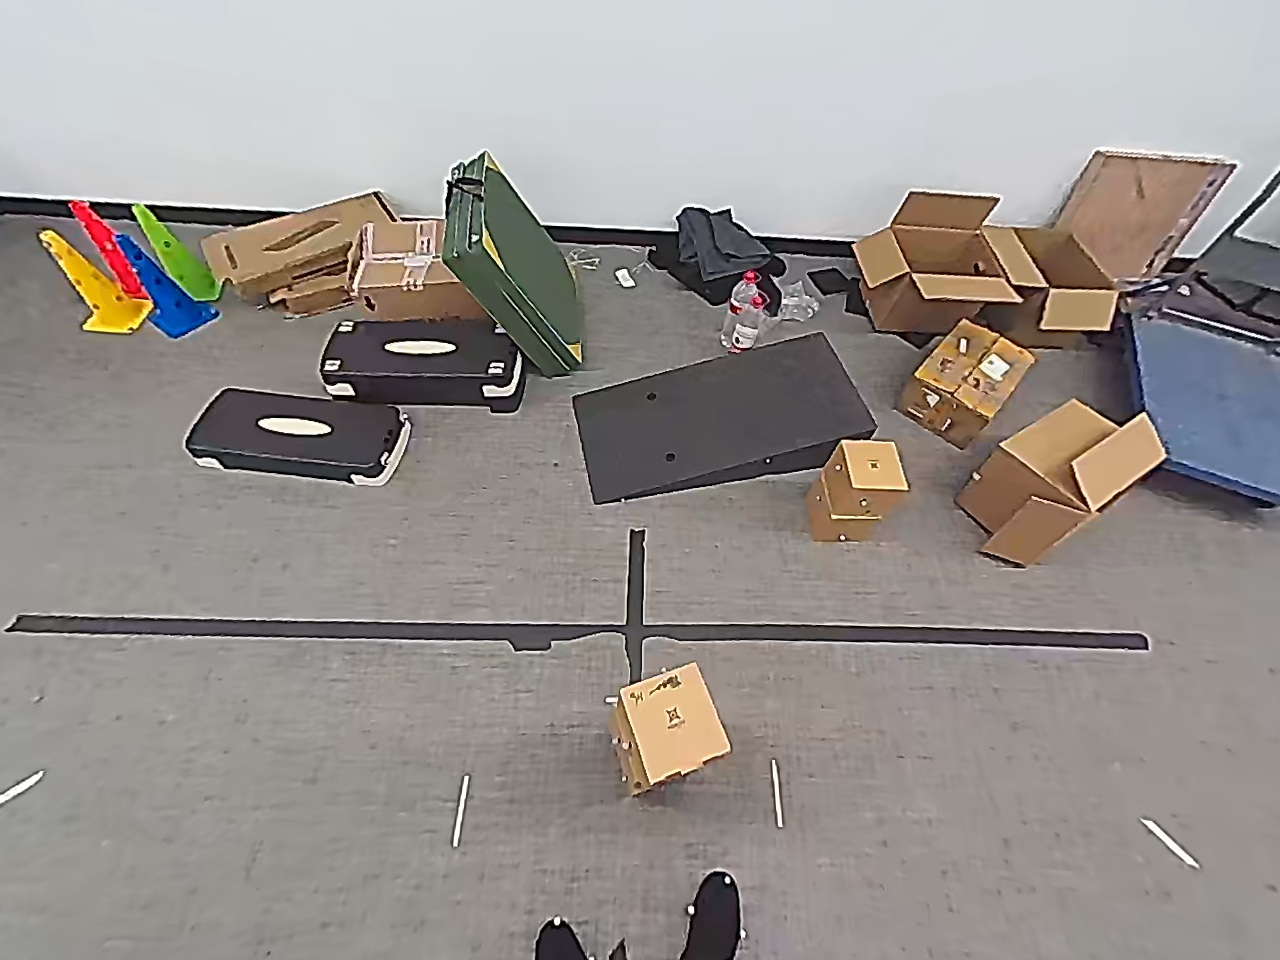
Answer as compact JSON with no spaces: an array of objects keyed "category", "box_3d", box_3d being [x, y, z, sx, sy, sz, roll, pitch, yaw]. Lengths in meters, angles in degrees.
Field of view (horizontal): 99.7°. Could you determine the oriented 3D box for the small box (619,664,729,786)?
[{"category":"small box","box_3d":[0.061,0.501,1.097,0.168,0.176,0.179,-15,60,-14]}]
